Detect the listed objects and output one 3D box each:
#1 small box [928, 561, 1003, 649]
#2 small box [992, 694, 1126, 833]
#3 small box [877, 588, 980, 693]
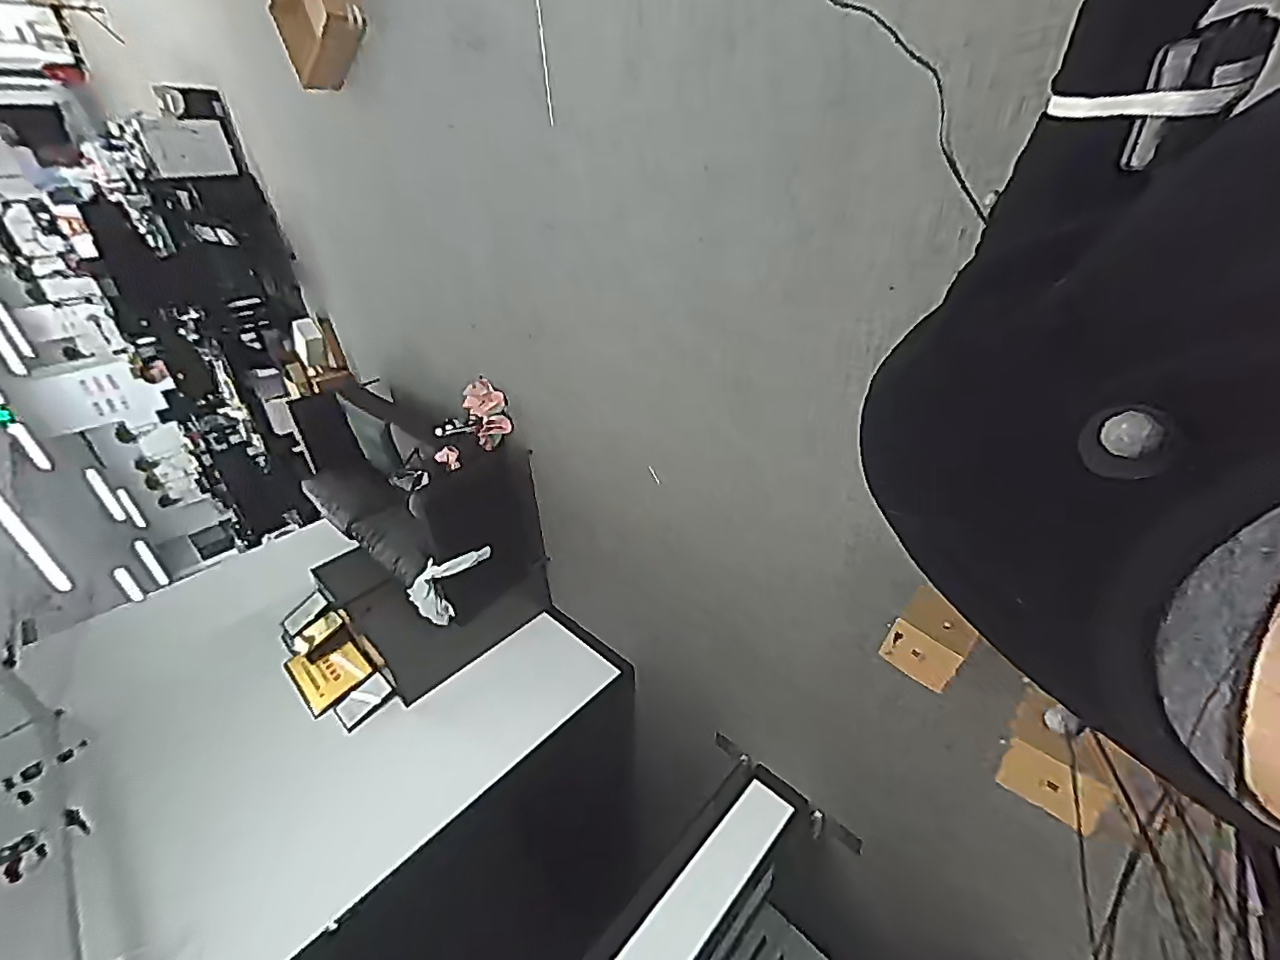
[{"bbox_3d":[0.909,0.371,1.558,0.168,0.176,0.179,33,135,31],"label":"small box"},{"bbox_3d":[0.903,0.598,1.168,0.179,0.176,0.168,23,130,37],"label":"small box"},{"bbox_3d":[0.784,0.427,1.466,0.179,0.176,0.168,33,135,30],"label":"small box"}]
